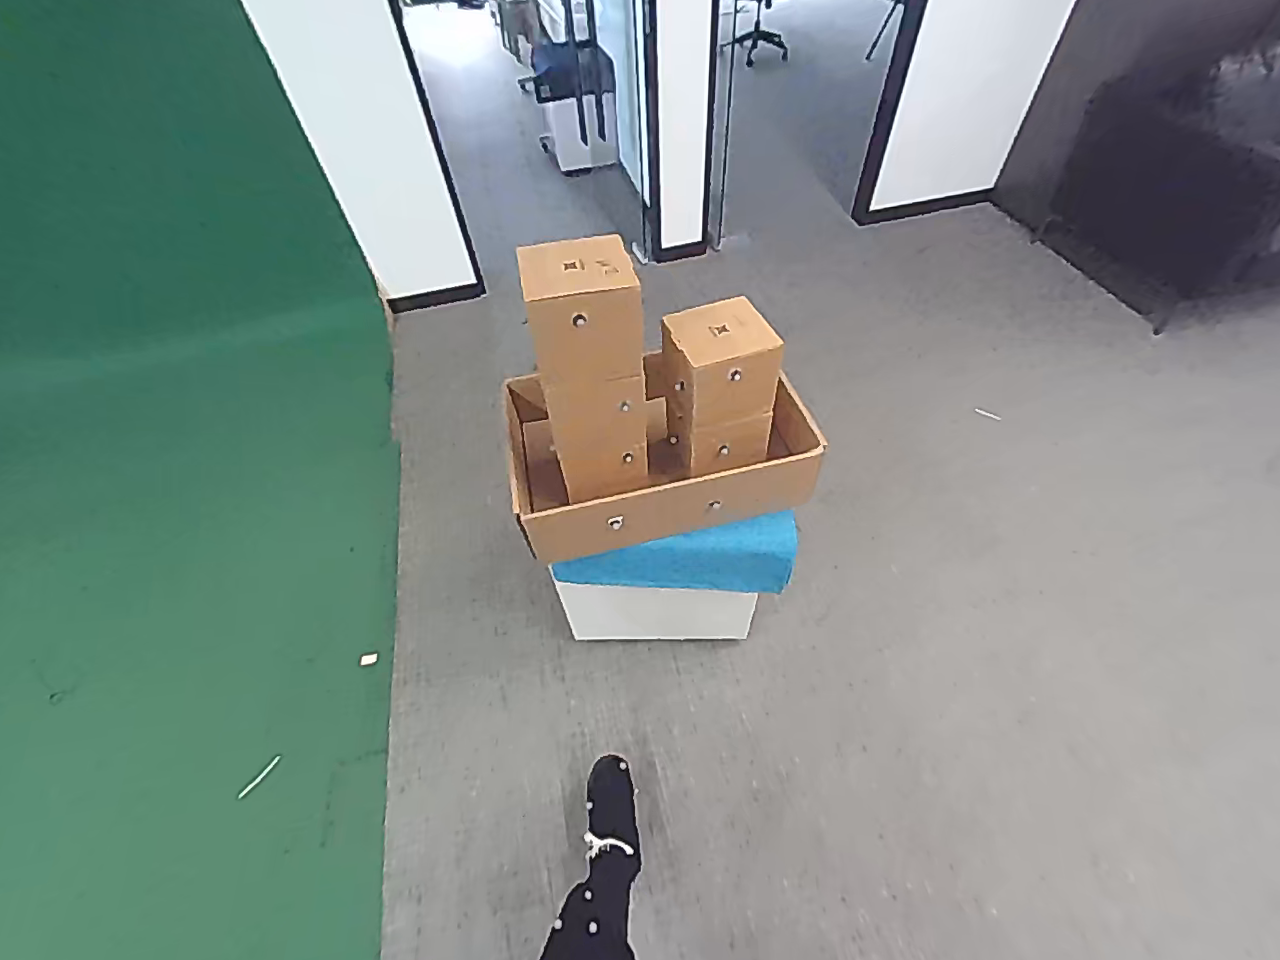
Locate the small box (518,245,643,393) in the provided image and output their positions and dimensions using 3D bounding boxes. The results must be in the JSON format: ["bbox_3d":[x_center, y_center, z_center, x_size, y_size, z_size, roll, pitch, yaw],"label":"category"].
[{"bbox_3d":[-0.097,-0.265,0.904,0.179,0.176,0.168,-10,50,-7],"label":"small box"}]

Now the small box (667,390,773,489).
[{"bbox_3d":[0.171,-0.104,1.171,0.179,0.176,0.168,-17,51,-6],"label":"small box"}]

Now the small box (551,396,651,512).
[{"bbox_3d":[-0.080,-0.051,1.153,0.179,0.176,0.168,-12,50,-8],"label":"small box"}]

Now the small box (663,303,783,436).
[{"bbox_3d":[0.155,-0.210,1.046,0.179,0.176,0.168,-17,51,-8],"label":"small box"}]
